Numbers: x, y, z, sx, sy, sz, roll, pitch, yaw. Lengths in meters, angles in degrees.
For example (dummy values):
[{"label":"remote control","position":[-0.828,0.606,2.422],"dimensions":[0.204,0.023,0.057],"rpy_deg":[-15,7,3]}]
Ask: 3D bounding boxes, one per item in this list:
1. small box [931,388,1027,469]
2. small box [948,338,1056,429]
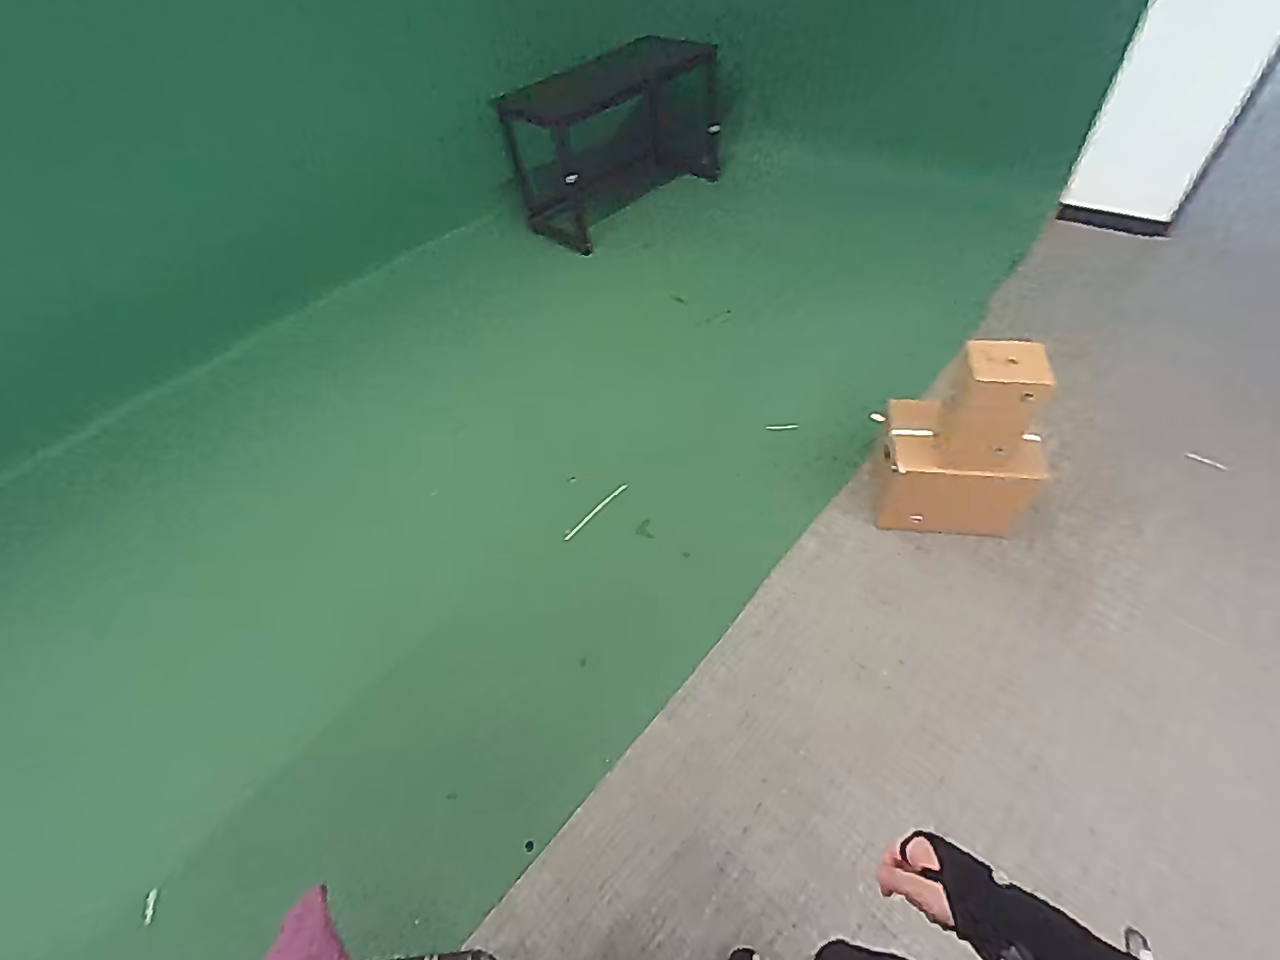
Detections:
[{"label":"small box","position":[0.954,-0.148,1.540],"dimensions":[0.179,0.176,0.168],"rpy_deg":[4,52,13]},{"label":"small box","position":[0.933,-0.249,1.412],"dimensions":[0.179,0.176,0.168],"rpy_deg":[6,52,14]}]
